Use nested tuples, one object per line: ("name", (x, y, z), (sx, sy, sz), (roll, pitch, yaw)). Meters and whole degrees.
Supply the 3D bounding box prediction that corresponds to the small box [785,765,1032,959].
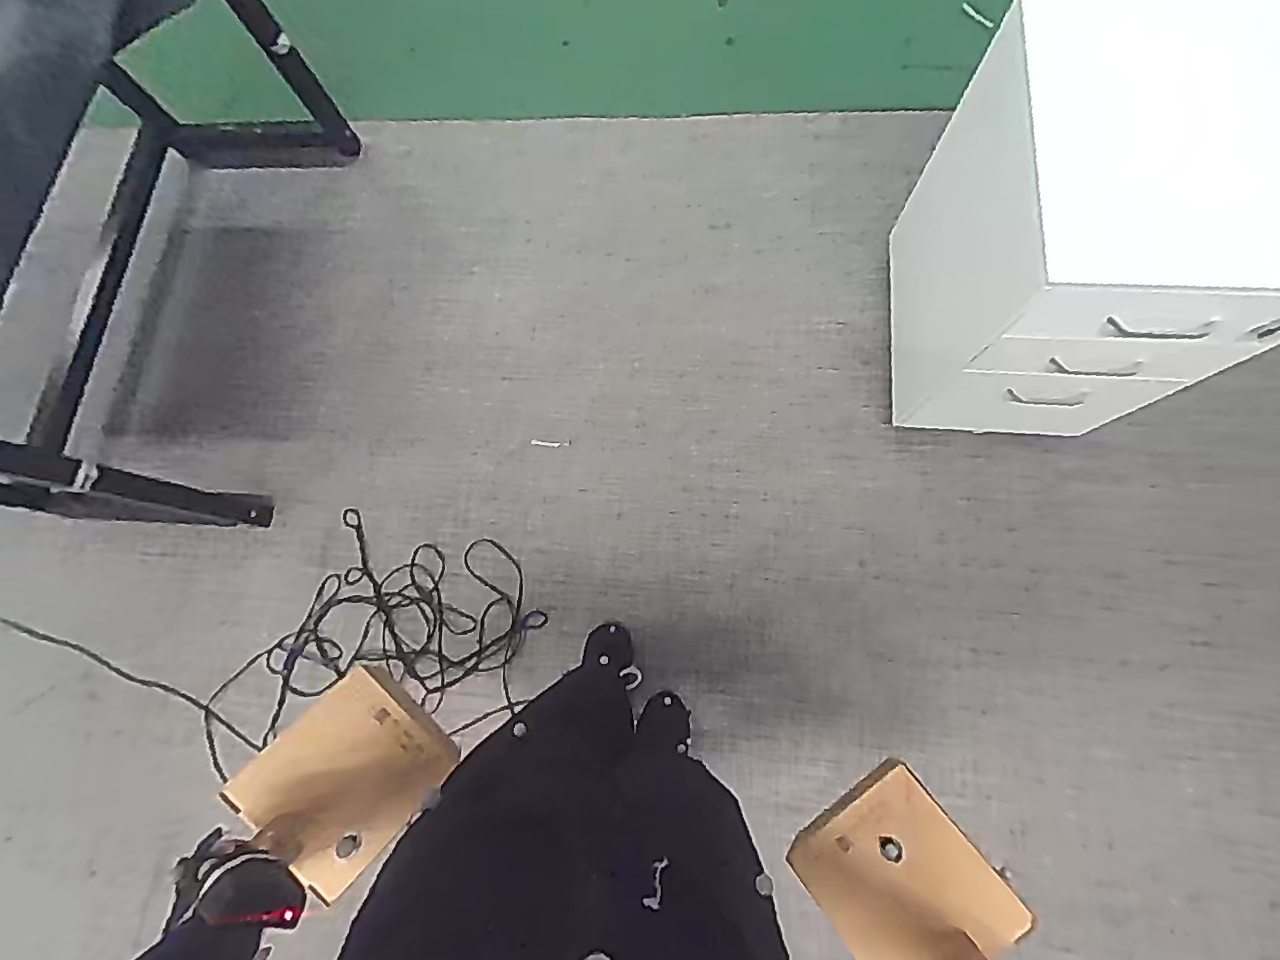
("small box", (0.287, 0.450, 0.618), (0.168, 0.179, 0.176), (-39, 58, -2))
